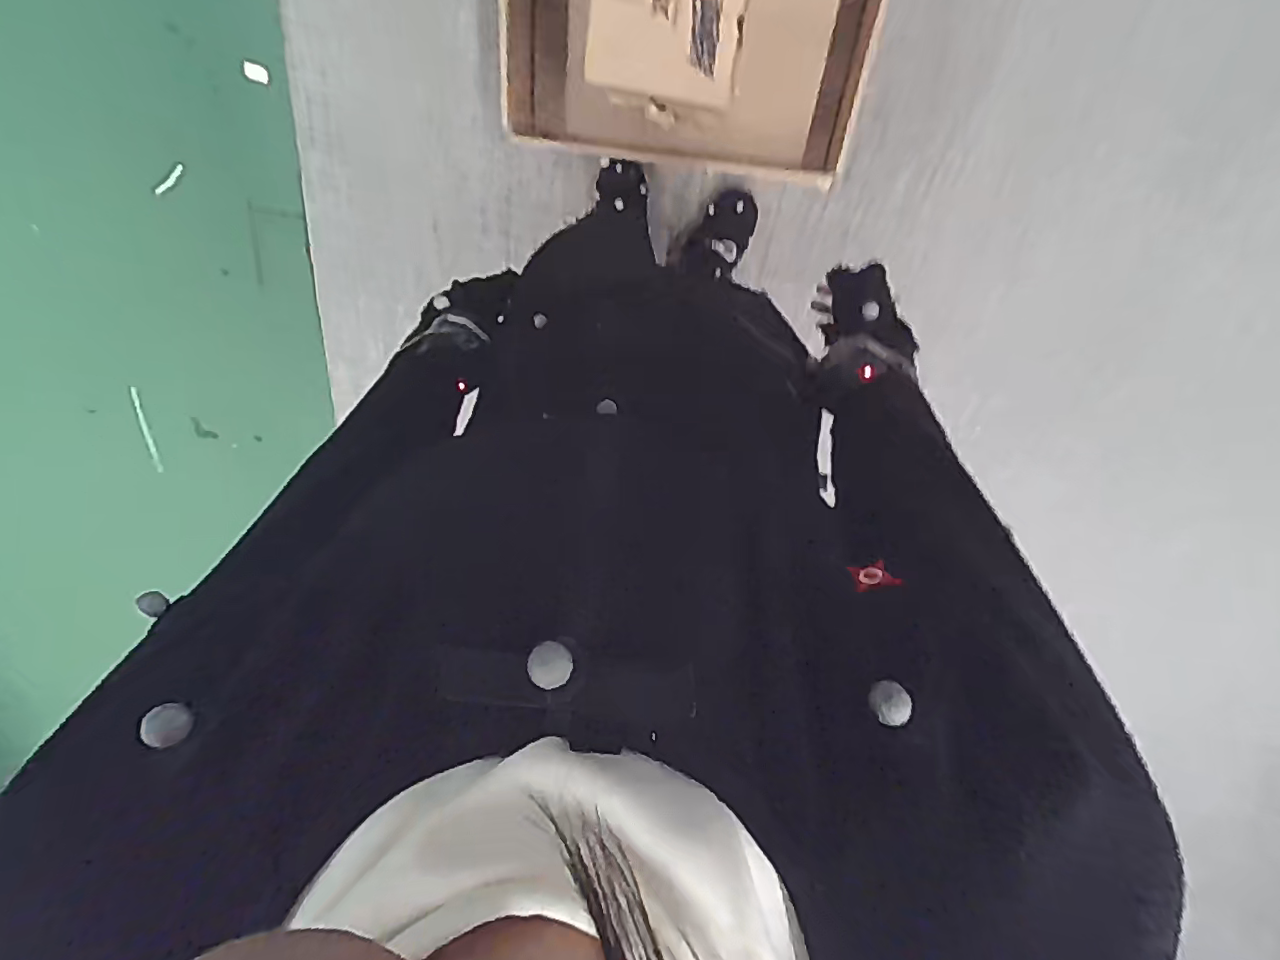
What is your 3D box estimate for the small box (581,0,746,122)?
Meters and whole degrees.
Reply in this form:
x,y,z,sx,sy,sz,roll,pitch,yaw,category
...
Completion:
x,y,z,sx,sy,sz,roll,pitch,yaw,category
0.036,-0.571,0.689,0.179,0.176,0.168,13,121,1,small box
